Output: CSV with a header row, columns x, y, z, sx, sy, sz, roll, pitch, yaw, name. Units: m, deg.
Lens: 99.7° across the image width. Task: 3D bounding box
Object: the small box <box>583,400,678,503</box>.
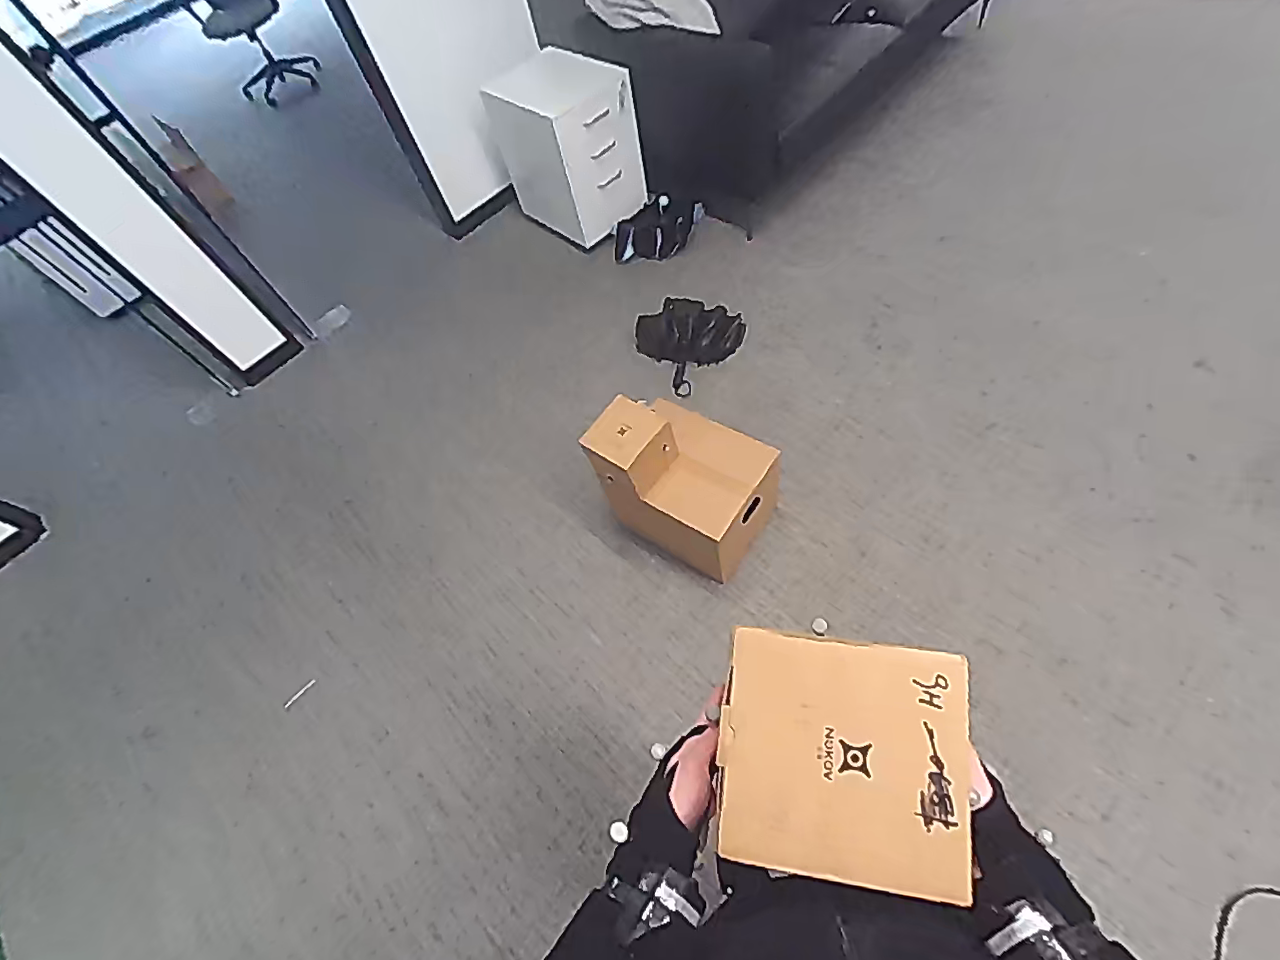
x,y,z,sx,sy,sz,roll,pitch,yaw,name
-0.016,-0.071,1.419,0.168,0.176,0.179,30,73,28,small box
